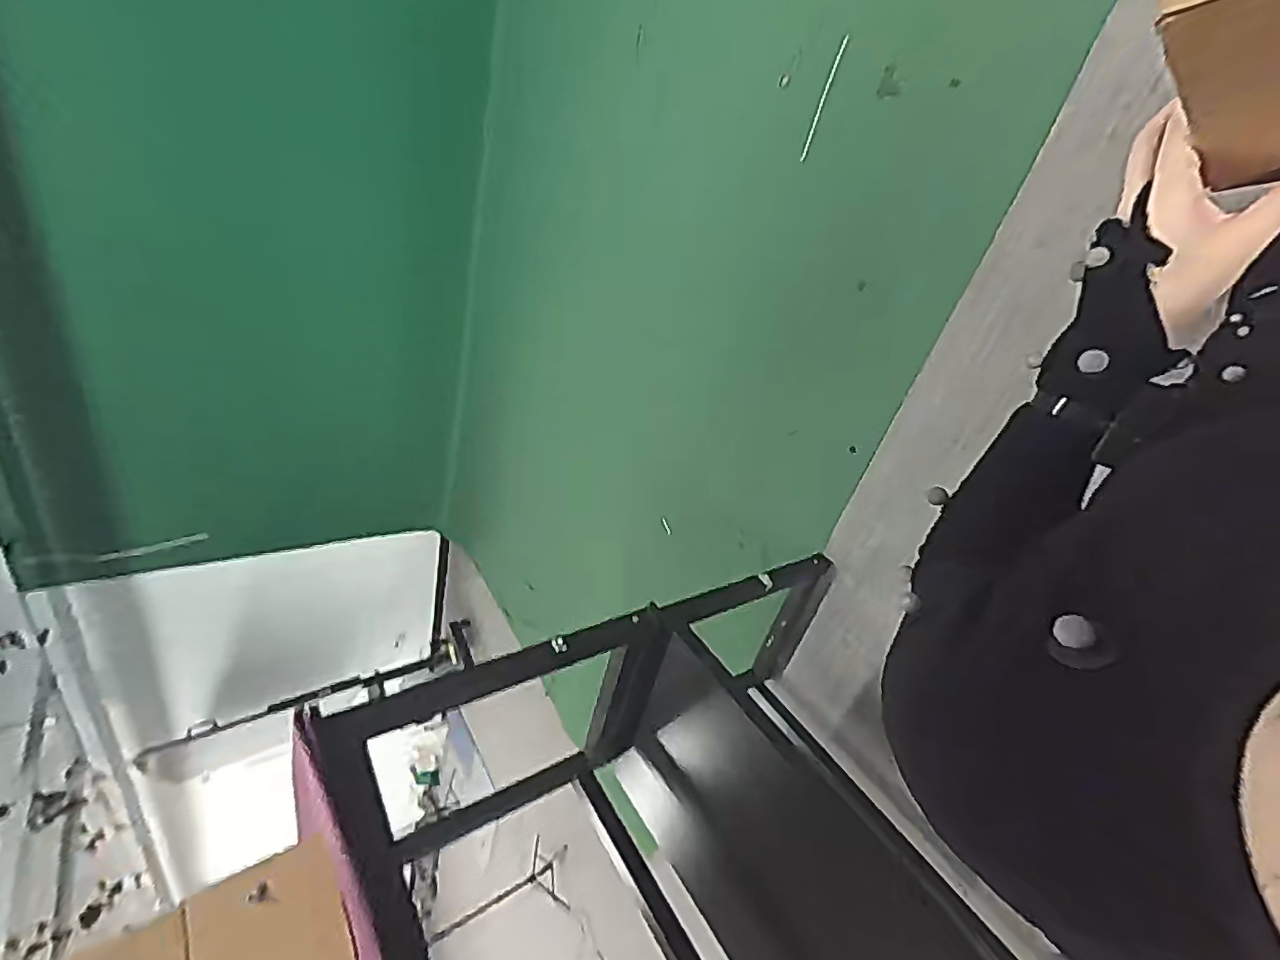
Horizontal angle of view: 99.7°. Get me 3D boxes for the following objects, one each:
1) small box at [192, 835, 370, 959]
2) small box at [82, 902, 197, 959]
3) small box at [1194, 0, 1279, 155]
[{"bbox_3d":[-0.485,0.630,0.741,0.179,0.176,0.168,45,133,34],"label":"small box"},{"bbox_3d":[-0.612,0.664,0.646,0.179,0.176,0.168,49,135,33],"label":"small box"},{"bbox_3d":[0.365,-0.266,0.214,0.179,0.176,0.168,18,97,52],"label":"small box"}]
